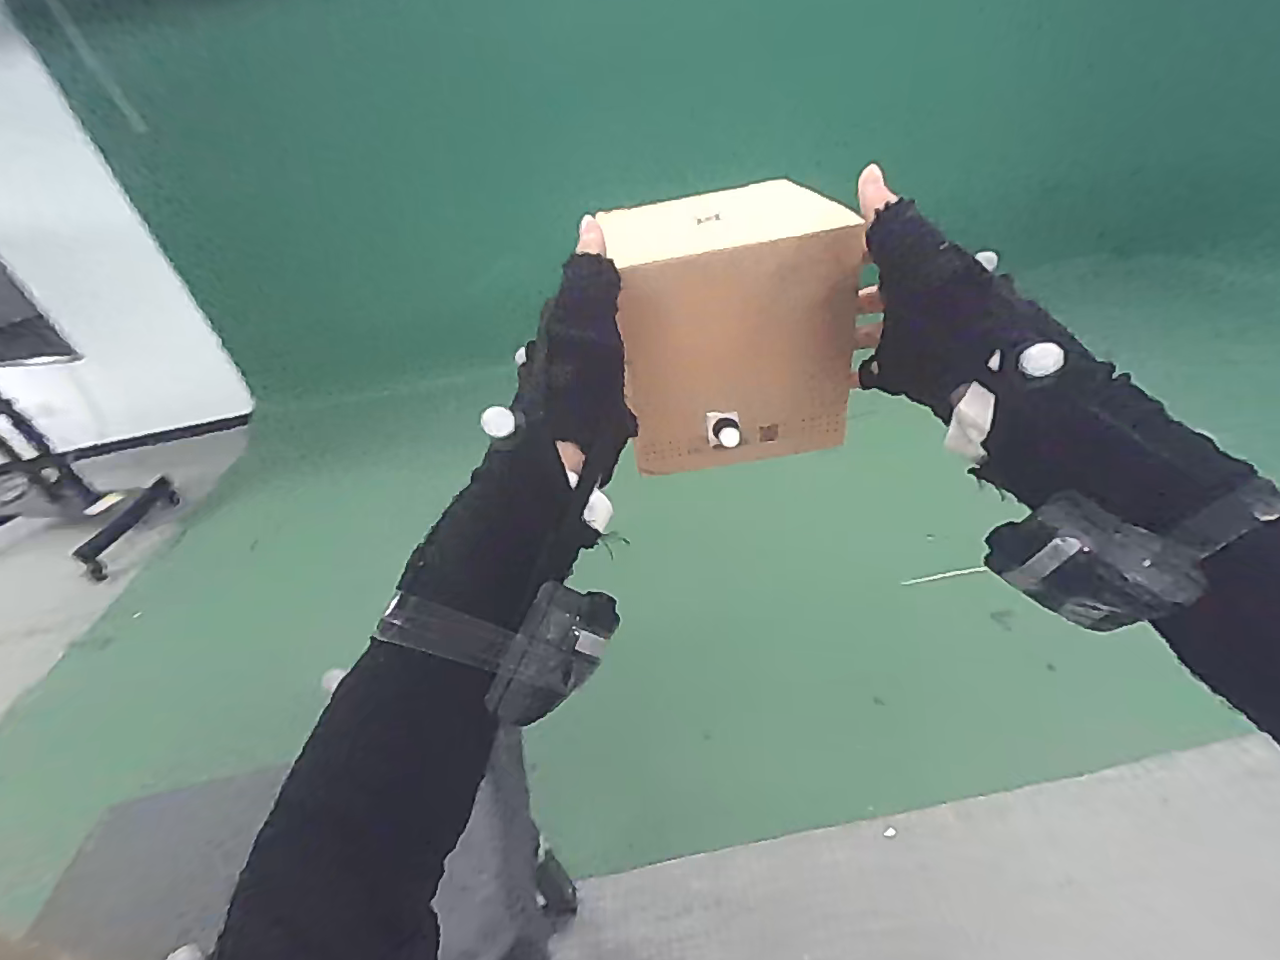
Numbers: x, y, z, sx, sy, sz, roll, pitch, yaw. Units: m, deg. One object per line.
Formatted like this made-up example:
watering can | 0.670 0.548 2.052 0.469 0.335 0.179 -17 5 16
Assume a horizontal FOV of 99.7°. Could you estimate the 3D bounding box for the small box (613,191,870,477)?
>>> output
small box | 0.072 -0.126 0.457 0.168 0.176 0.179 -10 37 3
